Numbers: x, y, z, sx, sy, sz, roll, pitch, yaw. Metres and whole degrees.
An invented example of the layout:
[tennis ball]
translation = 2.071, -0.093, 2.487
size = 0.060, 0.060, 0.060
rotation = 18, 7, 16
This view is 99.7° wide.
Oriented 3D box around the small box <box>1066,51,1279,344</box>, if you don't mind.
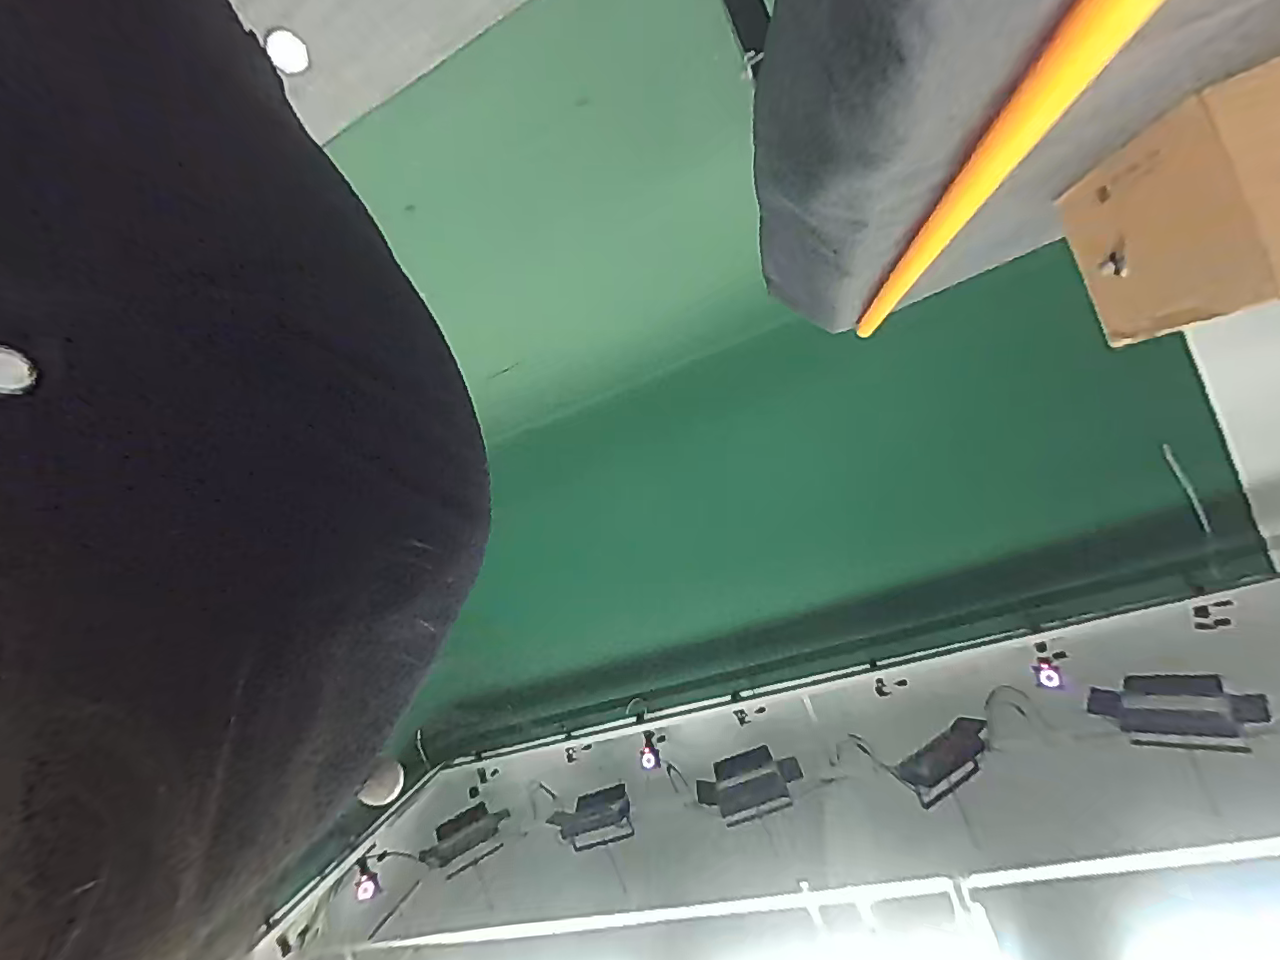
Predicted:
[small box]
translation = 0.516, -0.242, 0.453
size = 0.179, 0.176, 0.168
rotation = -23, 180, 7
